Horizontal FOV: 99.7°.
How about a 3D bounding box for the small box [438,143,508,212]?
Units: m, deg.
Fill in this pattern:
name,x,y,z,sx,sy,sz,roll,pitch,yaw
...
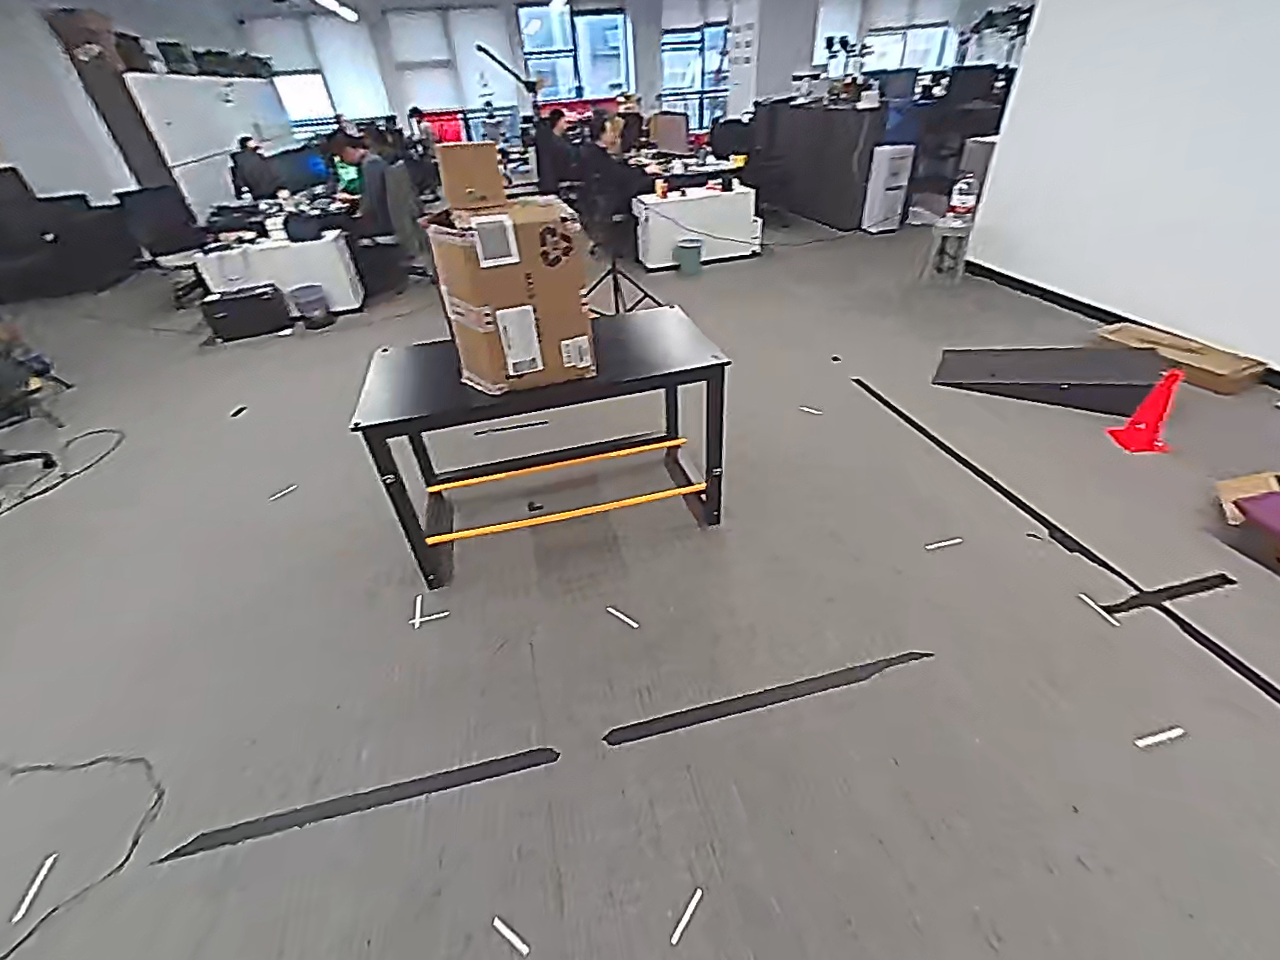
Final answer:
name,x,y,z,sx,sy,sz,roll,pitch,yaw
small box,-0.506,-0.920,1.641,0.168,0.176,0.179,-14,36,-14
